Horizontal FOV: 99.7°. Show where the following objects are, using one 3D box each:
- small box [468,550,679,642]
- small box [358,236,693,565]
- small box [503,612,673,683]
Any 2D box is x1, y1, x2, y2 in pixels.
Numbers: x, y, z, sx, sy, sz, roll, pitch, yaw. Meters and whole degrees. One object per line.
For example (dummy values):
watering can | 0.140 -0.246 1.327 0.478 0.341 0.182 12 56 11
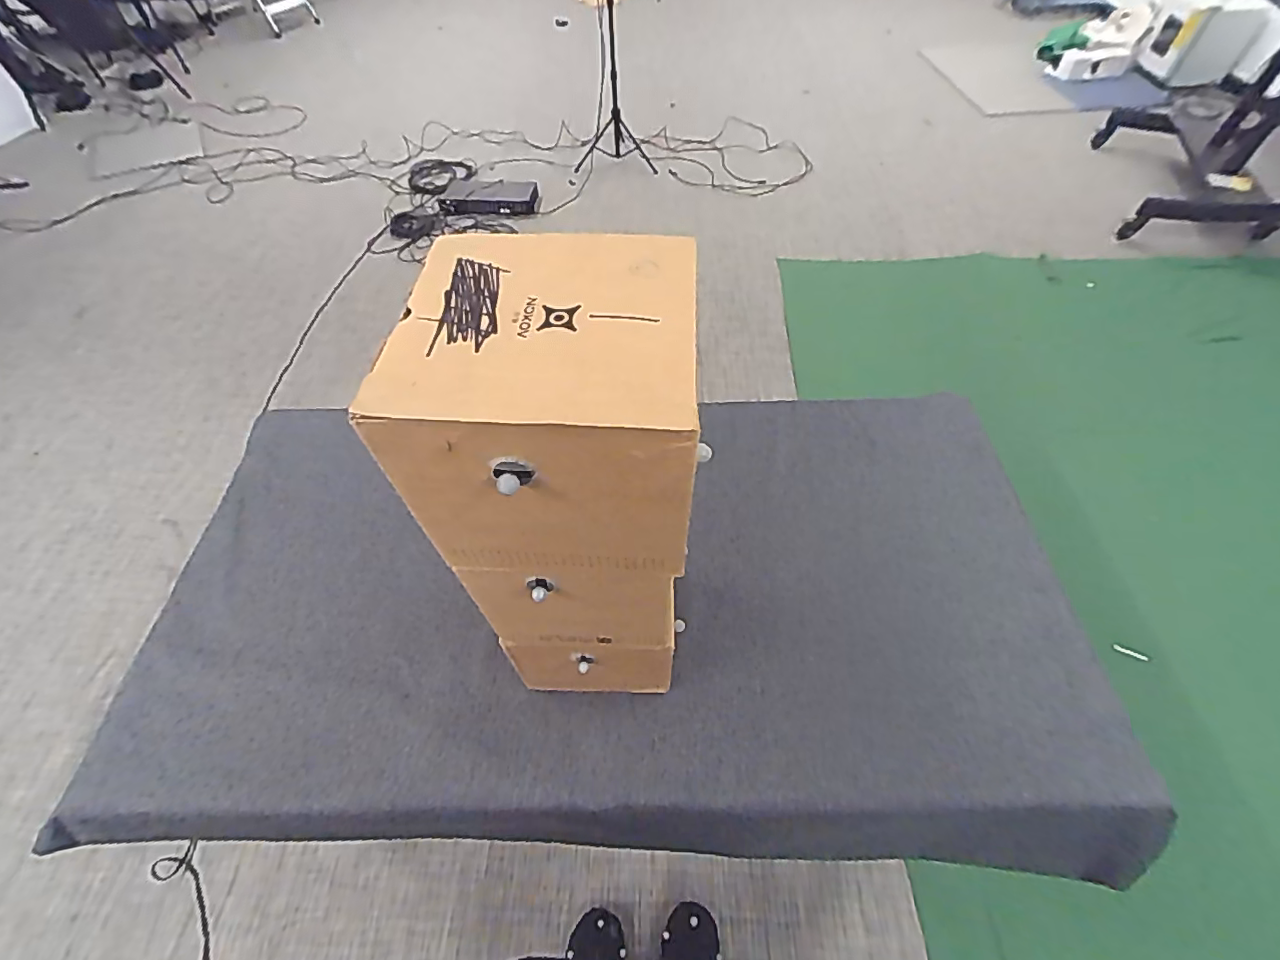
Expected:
small box | -0.051 0.043 0.526 0.168 0.176 0.179 0 55 0
small box | -0.055 -0.050 0.386 0.179 0.176 0.168 3 55 3
small box | -0.049 0.139 0.655 0.179 0.176 0.168 1 55 1
